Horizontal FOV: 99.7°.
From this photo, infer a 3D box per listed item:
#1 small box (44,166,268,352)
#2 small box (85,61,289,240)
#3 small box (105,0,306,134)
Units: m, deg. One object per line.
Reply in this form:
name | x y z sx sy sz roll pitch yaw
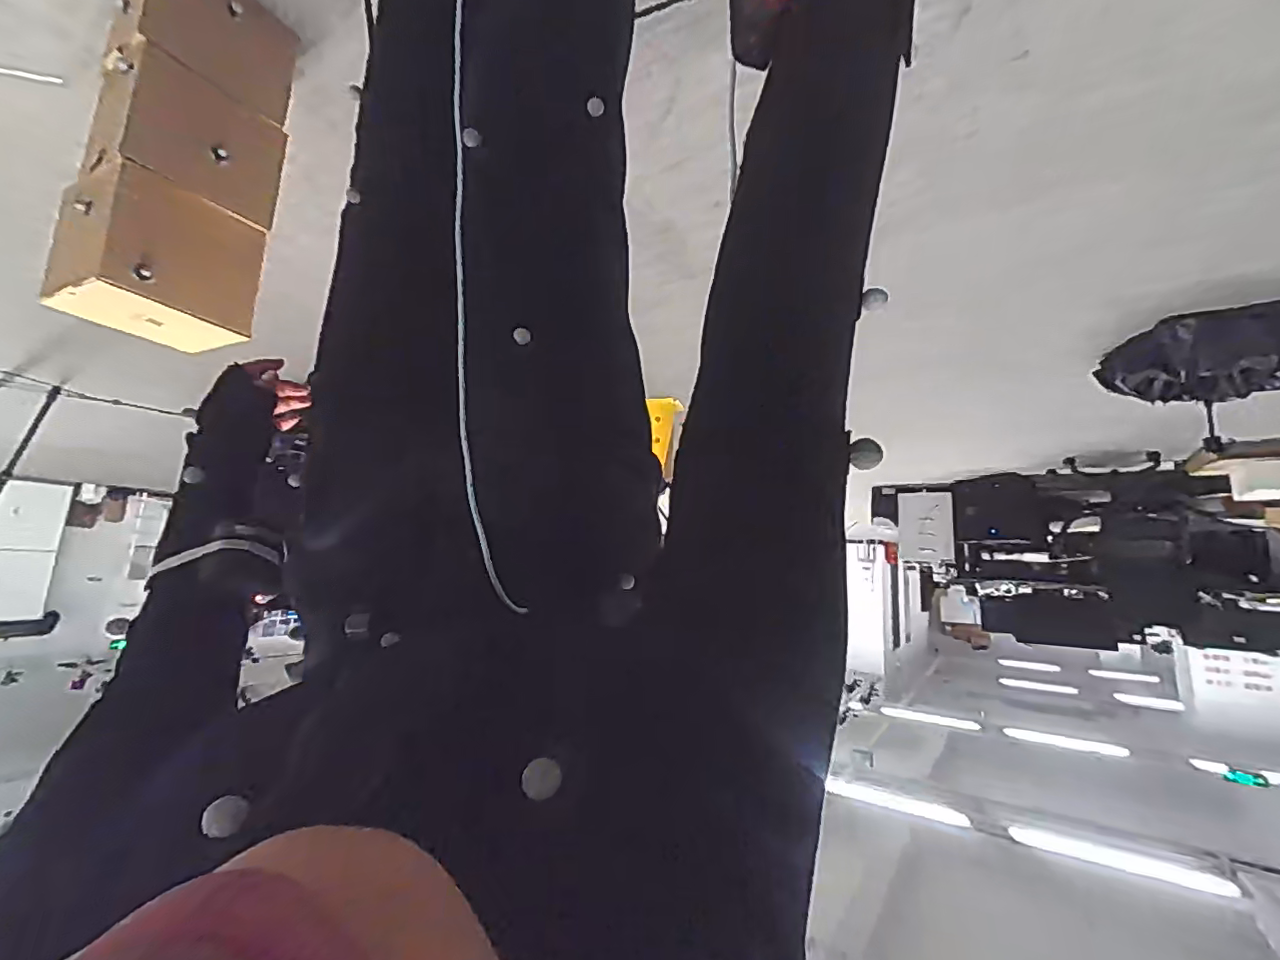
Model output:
small box | -0.670 -0.300 0.766 0.168 0.176 0.179 -1 169 25
small box | -0.653 -0.460 0.789 0.168 0.176 0.179 -2 170 30
small box | -0.642 -0.625 0.810 0.168 0.176 0.179 0 169 34
